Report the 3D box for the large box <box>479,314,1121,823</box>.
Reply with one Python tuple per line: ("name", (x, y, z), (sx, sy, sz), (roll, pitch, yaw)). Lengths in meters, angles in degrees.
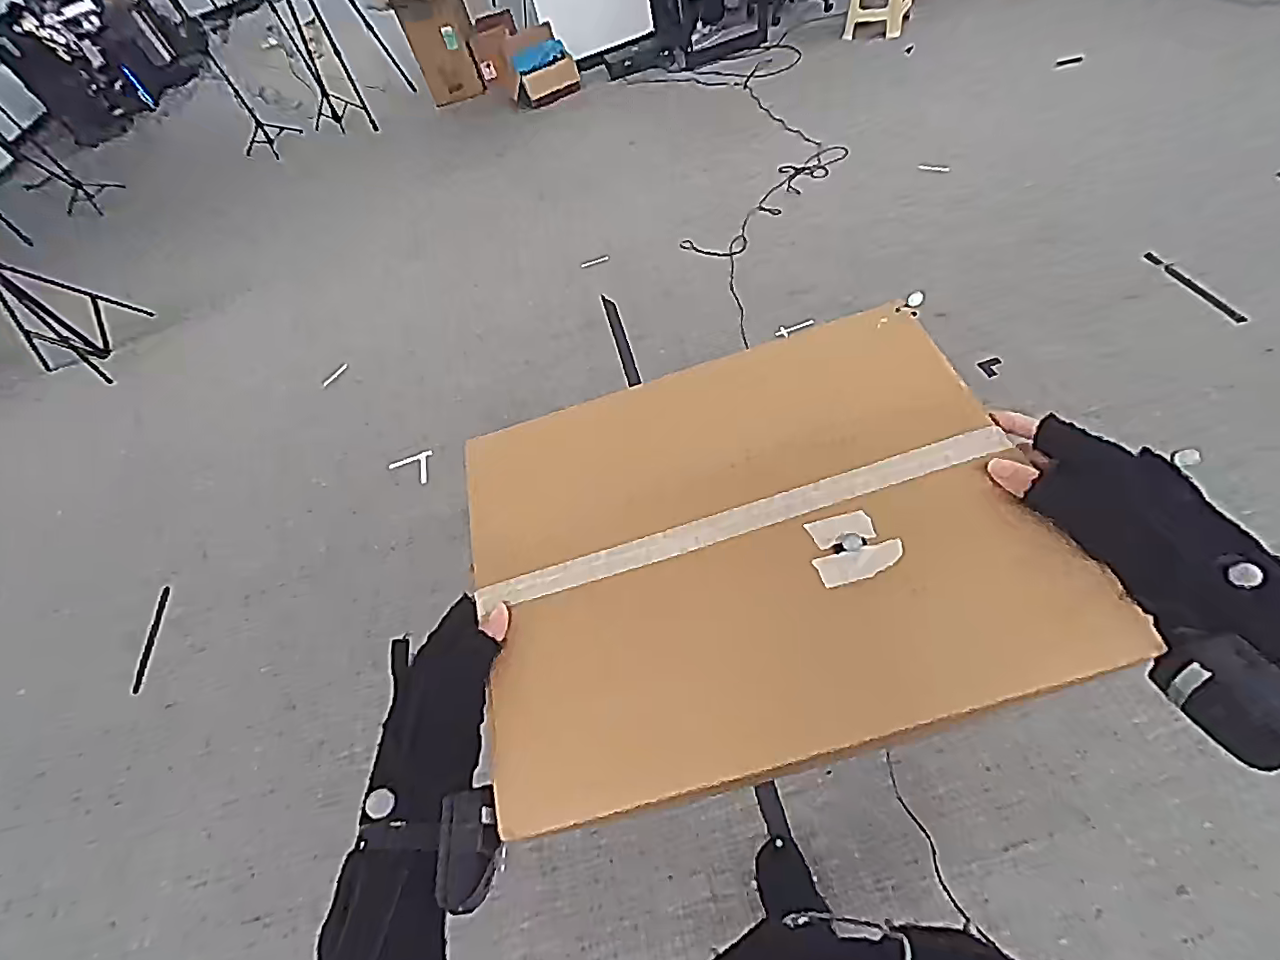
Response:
("large box", (0.101, 0.107, 0.542), (0.408, 0.320, 0.320), (-18, 59, 2))
